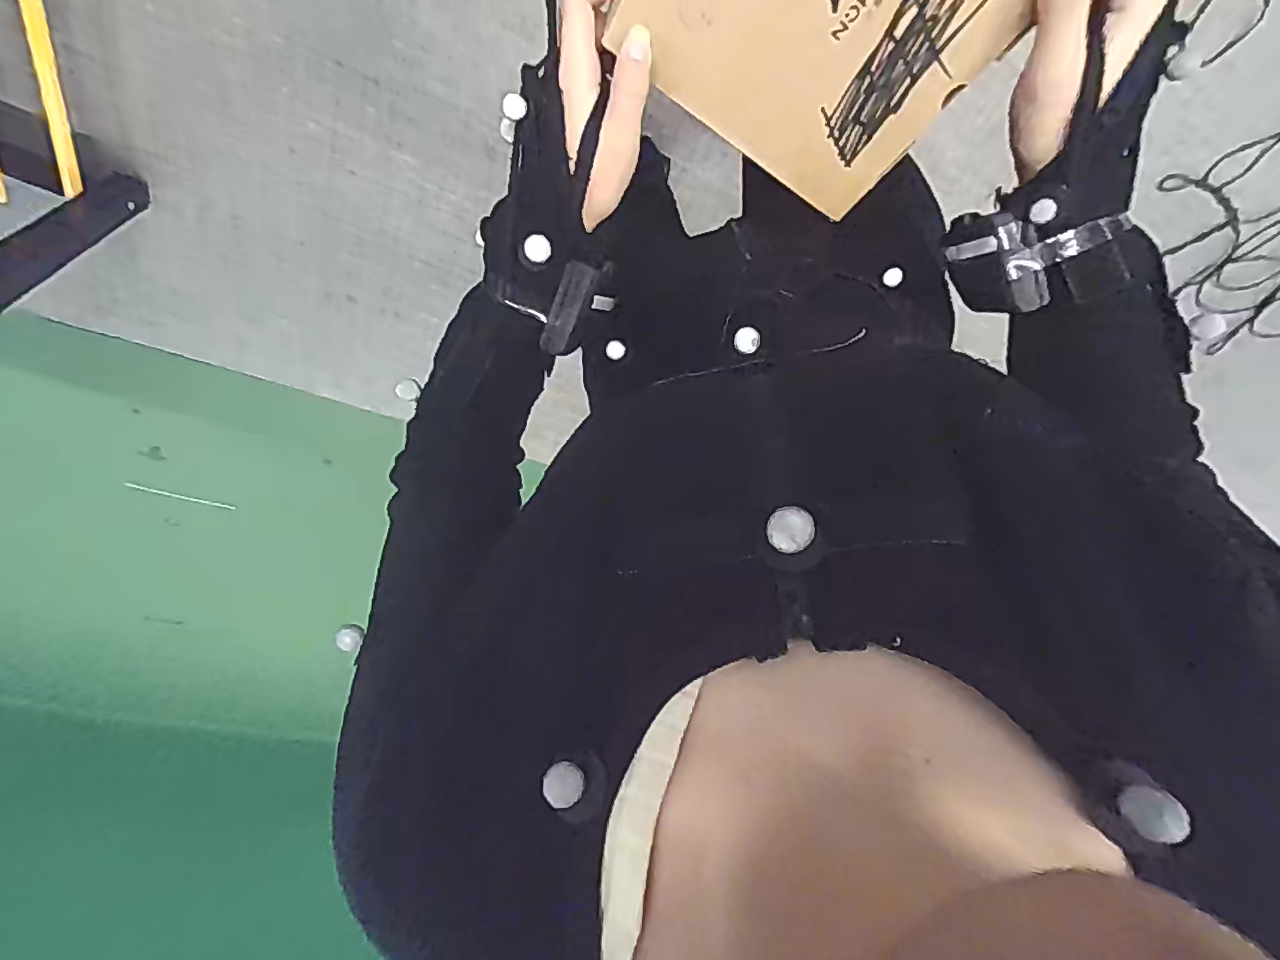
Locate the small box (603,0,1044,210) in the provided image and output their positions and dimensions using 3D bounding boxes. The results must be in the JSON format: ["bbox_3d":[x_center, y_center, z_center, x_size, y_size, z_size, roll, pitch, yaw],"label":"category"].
[{"bbox_3d":[0.099,-0.304,0.302,0.179,0.176,0.168,22,141,-25],"label":"small box"}]
